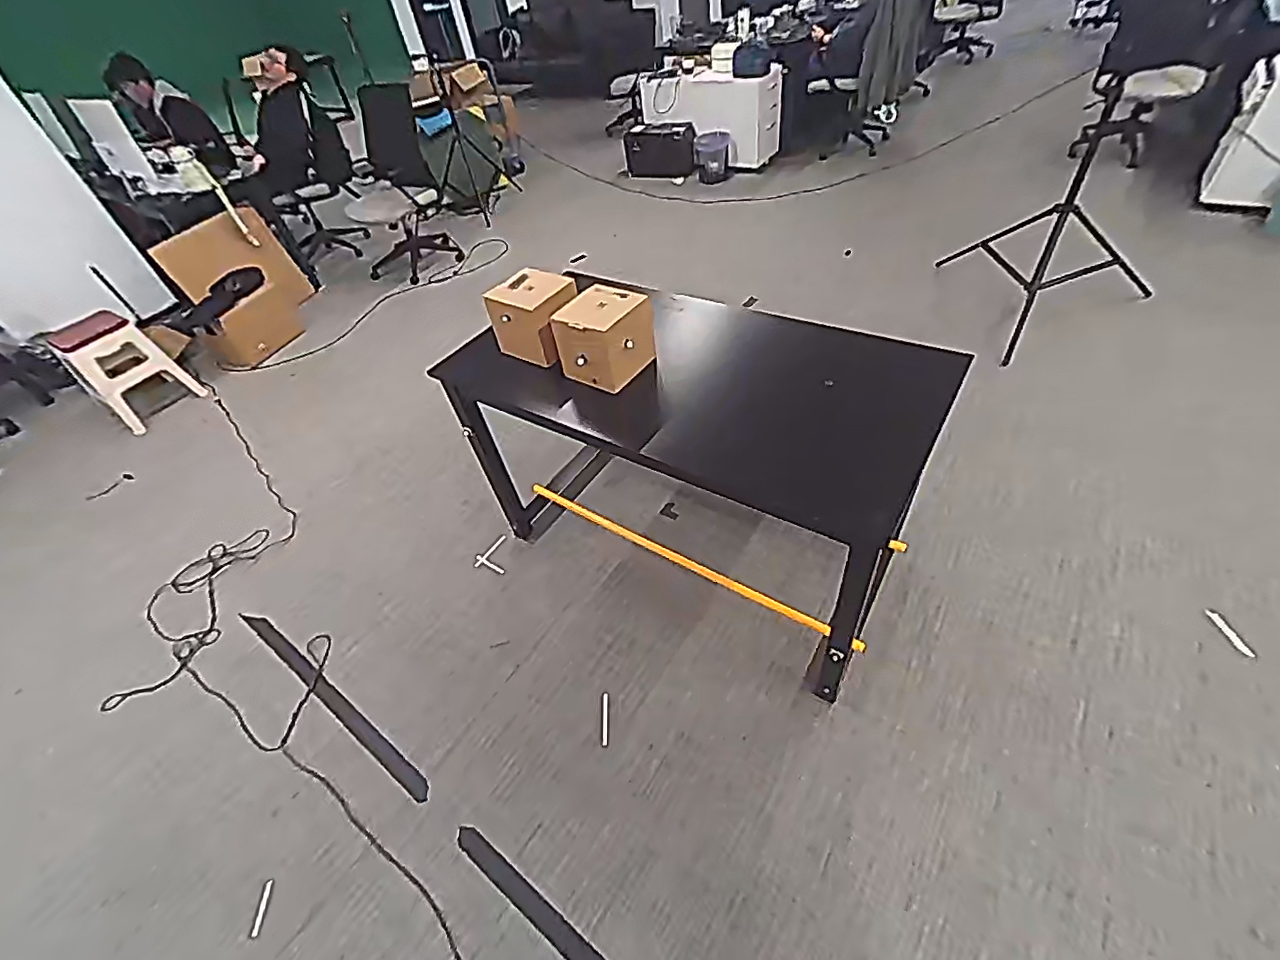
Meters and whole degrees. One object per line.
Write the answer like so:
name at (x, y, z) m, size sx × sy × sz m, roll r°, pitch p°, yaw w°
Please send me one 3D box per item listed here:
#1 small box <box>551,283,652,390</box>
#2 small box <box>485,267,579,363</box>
small box at (-0.083, -0.345, 1.306) m, size 0.168 × 0.176 × 0.179 m, roll 24°, pitch 55°, yaw 27°
small box at (-0.268, -0.431, 1.418) m, size 0.179 × 0.176 × 0.168 m, roll 24°, pitch 55°, yaw 27°
